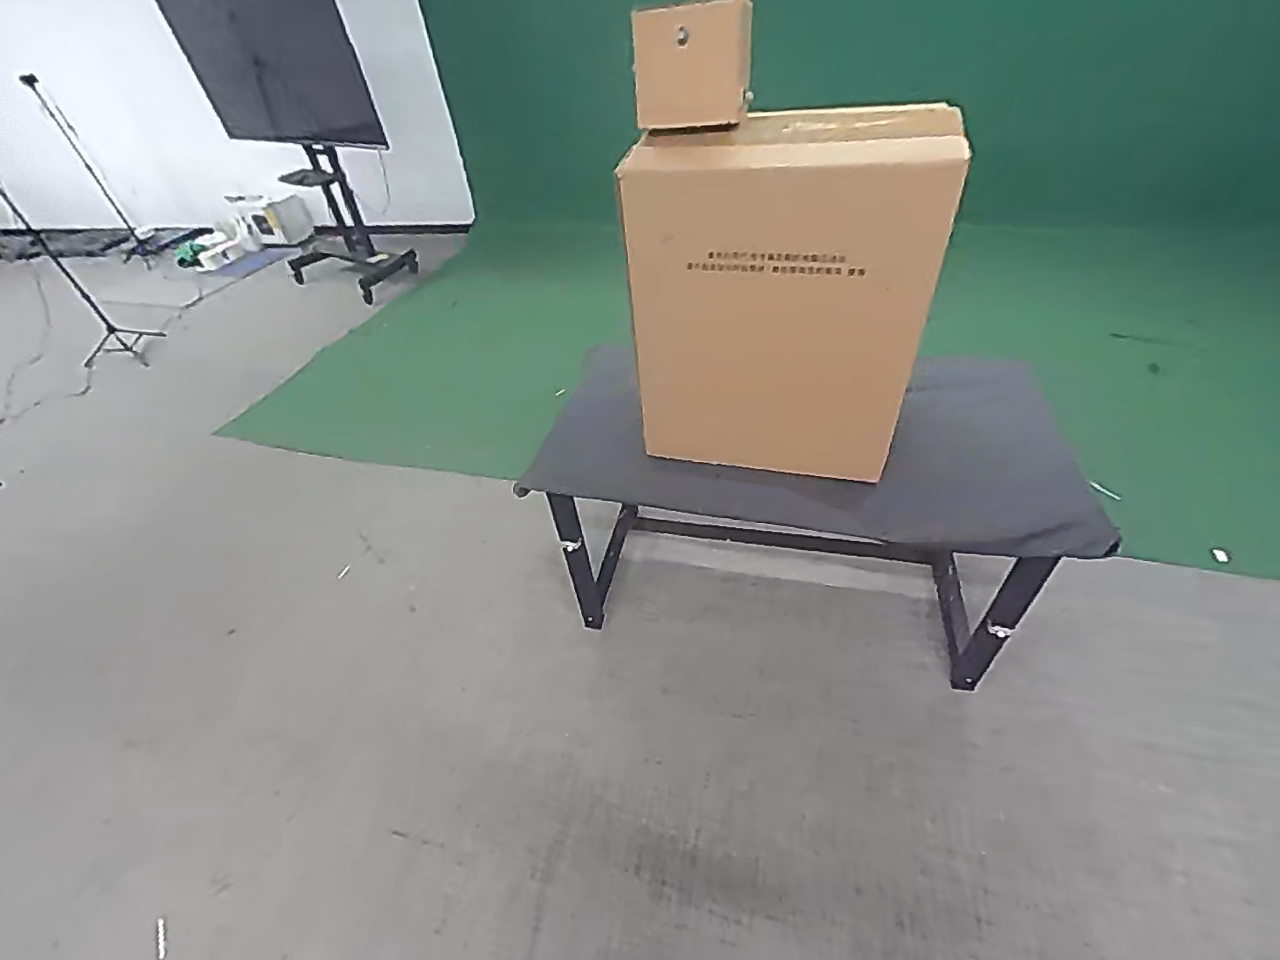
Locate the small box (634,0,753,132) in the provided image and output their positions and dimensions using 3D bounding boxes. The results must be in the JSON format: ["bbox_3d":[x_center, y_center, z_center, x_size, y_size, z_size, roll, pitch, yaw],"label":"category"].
[{"bbox_3d":[0.097,-0.717,0.951,0.179,0.176,0.168,7,38,12],"label":"small box"}]
